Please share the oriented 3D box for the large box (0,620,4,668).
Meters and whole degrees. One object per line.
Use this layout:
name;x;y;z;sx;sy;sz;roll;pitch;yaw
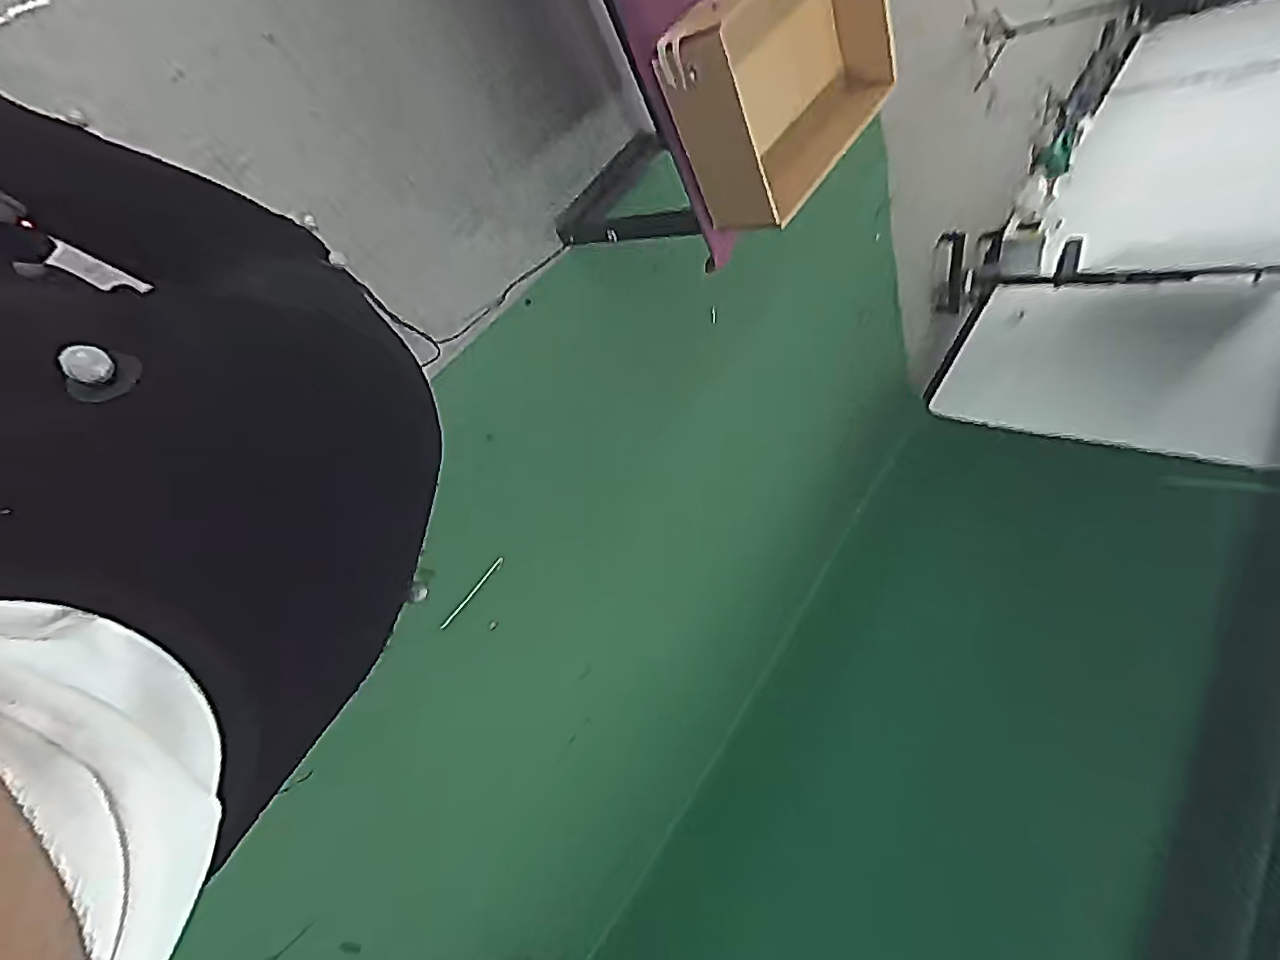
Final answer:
large box;-1.420;0.459;0.924;0.408;0.320;0.320;8;100;-48
